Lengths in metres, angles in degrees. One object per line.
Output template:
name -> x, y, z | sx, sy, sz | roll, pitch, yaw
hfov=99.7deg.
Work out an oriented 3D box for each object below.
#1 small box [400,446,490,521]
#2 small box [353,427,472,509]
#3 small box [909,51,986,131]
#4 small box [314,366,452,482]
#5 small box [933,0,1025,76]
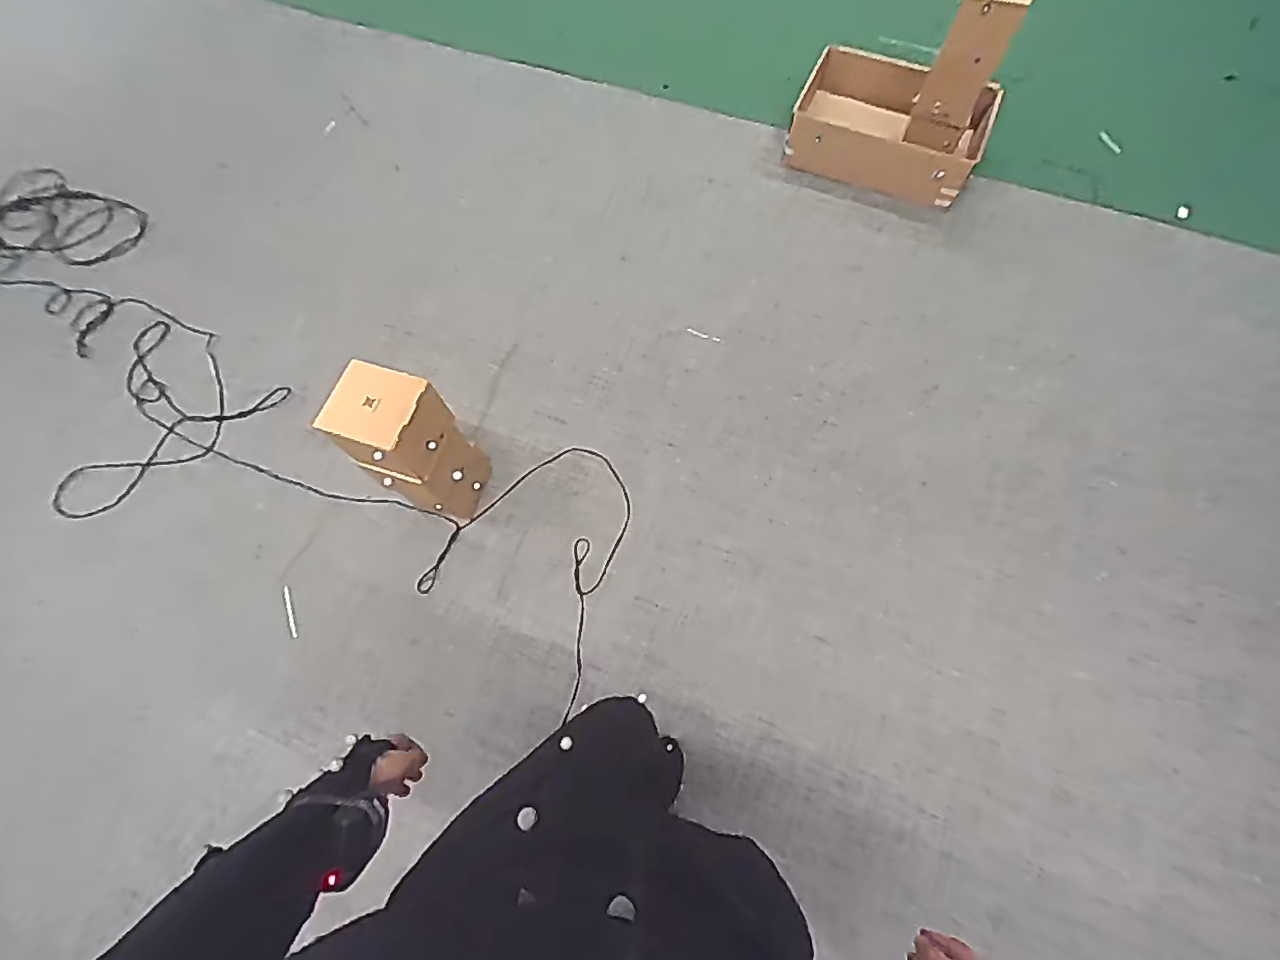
small box -> -0.527, 0.000, 1.452 | 0.179, 0.176, 0.168 | 13, 68, 7
small box -> -0.534, -0.046, 1.295 | 0.179, 0.176, 0.168 | 17, 70, 8
small box -> 0.970, -1.239, 1.687 | 0.168, 0.176, 0.179 | 24, 72, 12
small box -> -0.532, -0.112, 1.146 | 0.179, 0.176, 0.168 | 16, 69, 7
small box -> 0.963, -1.299, 1.534 | 0.168, 0.176, 0.179 | 21, 70, 11
